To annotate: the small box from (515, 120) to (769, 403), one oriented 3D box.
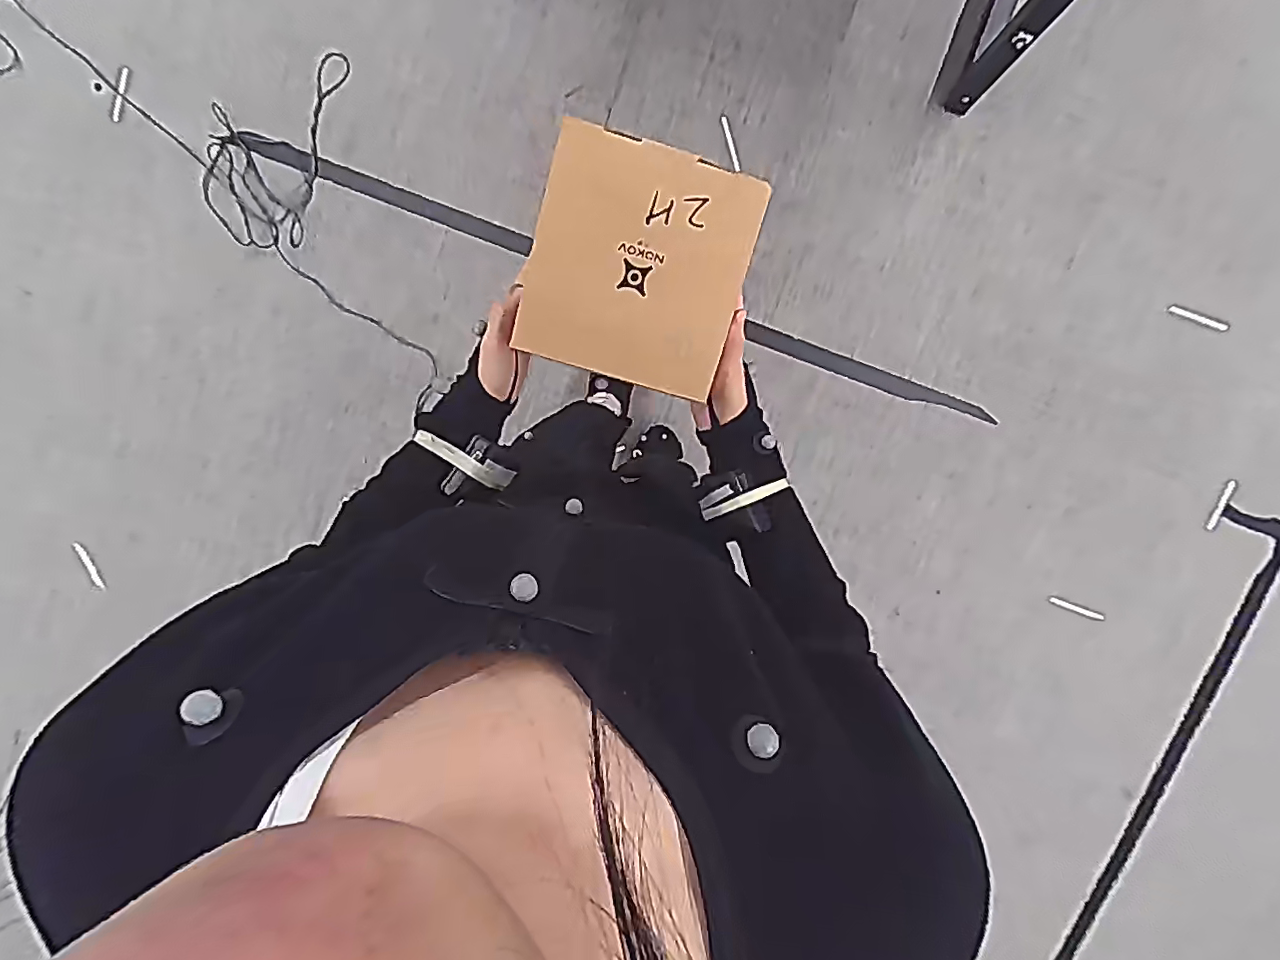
[{"bbox_3d":[-0.003,-0.182,0.504,0.168,0.176,0.179,16,100,-6],"label":"small box"}]
